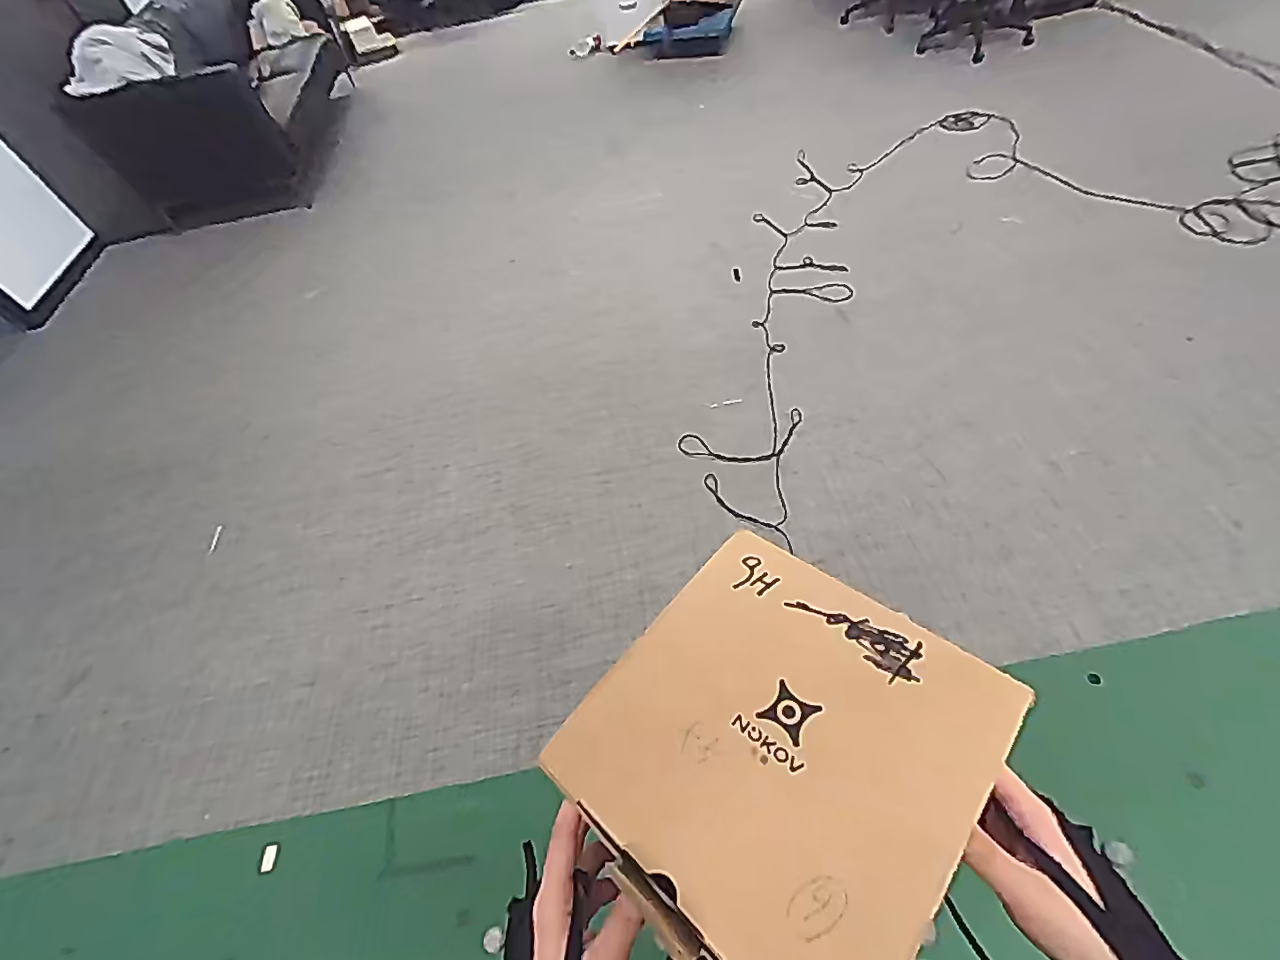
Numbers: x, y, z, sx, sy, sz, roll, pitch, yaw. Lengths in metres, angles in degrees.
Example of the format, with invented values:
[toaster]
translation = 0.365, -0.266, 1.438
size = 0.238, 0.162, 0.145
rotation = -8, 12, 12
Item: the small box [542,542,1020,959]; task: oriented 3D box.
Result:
[small box]
translation = 0.079, 0.178, 0.320
size = 0.168, 0.176, 0.179
rotation = 30, 61, 33
